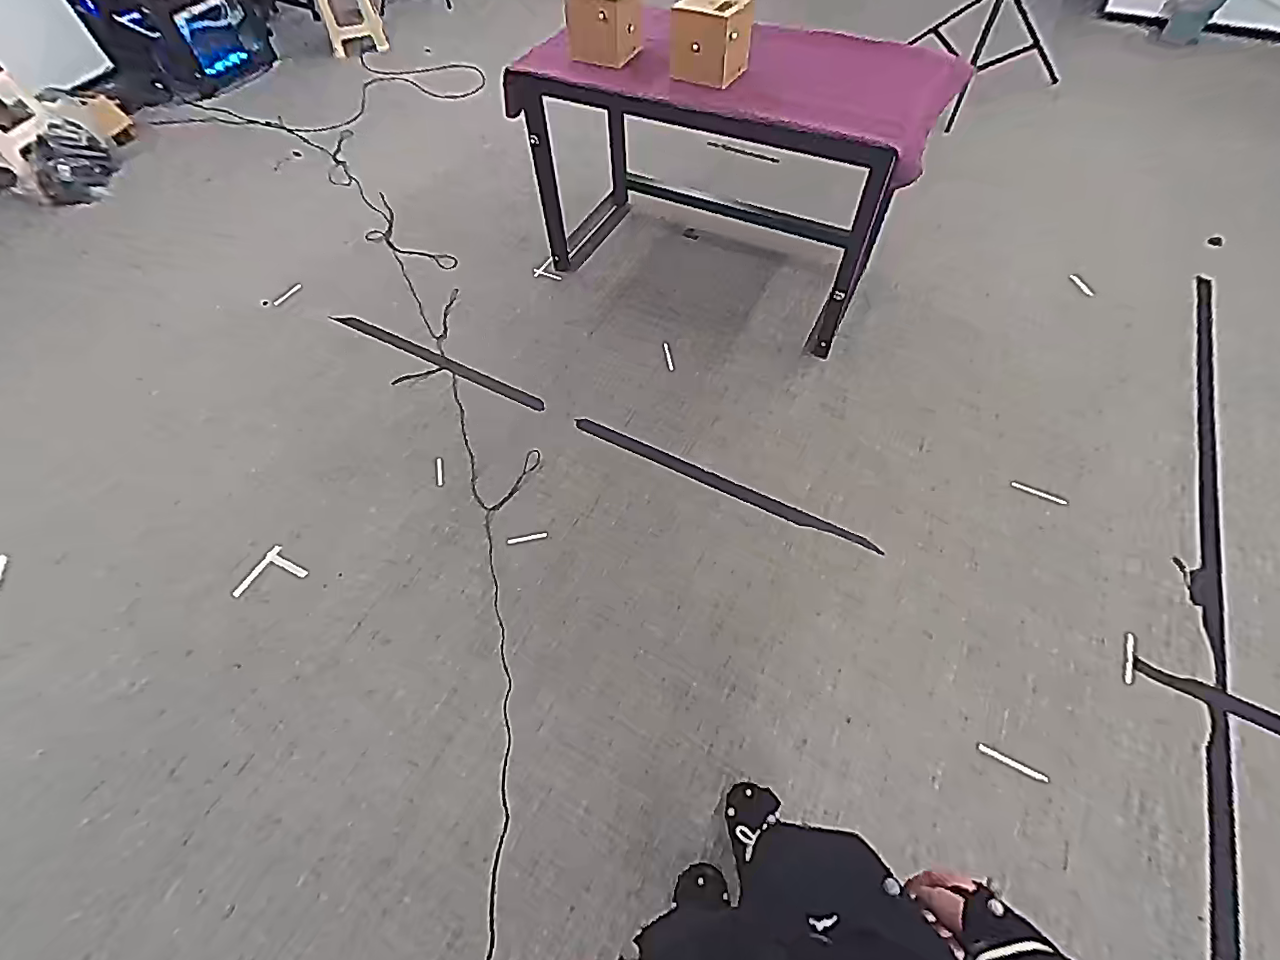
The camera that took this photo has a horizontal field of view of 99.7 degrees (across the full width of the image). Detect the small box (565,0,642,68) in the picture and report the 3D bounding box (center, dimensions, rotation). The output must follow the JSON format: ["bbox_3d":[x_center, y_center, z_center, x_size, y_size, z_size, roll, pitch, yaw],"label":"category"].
[{"bbox_3d":[-0.102,-1.375,1.629,0.179,0.176,0.168,21,59,15],"label":"small box"}]
